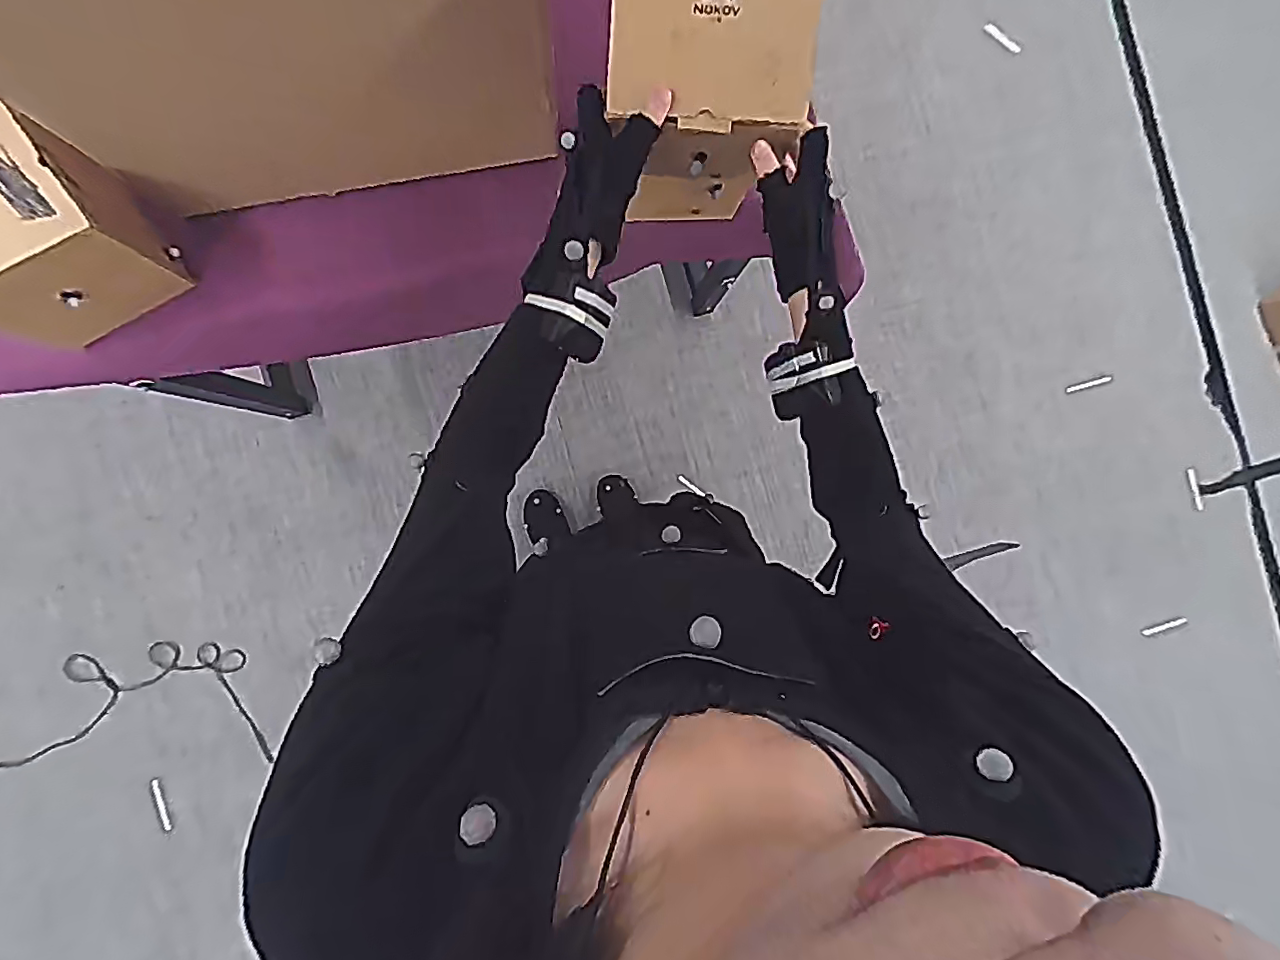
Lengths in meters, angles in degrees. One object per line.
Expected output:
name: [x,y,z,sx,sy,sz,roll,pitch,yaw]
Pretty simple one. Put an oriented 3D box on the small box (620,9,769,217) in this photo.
small box: [0.063,-0.474,0.726,0.168,0.176,0.179,-4,88,-6]
